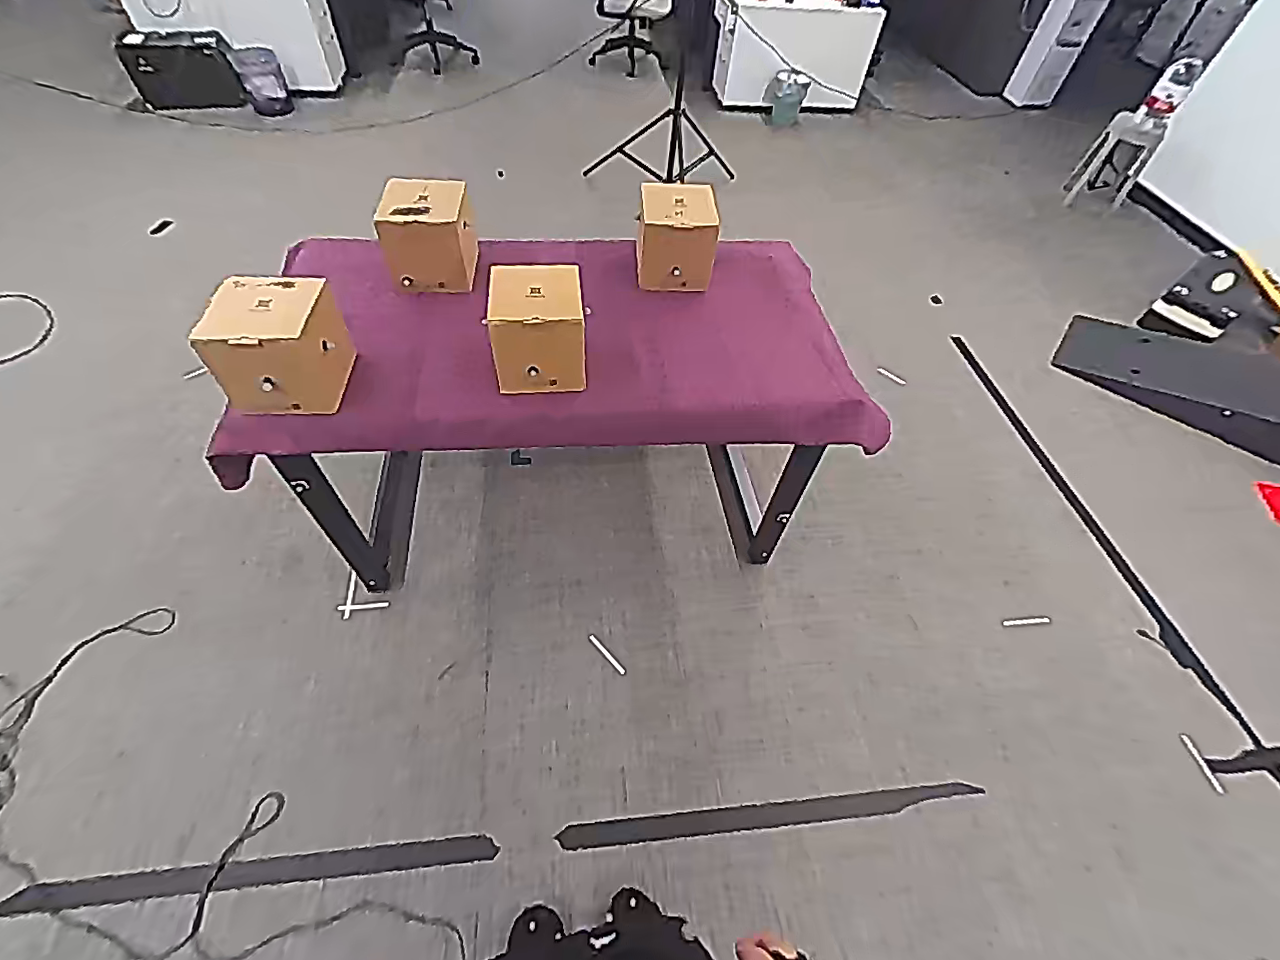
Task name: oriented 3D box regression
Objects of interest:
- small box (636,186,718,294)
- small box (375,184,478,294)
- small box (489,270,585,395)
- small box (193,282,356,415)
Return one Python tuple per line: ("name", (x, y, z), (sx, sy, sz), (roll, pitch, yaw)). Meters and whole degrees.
("small box", (0.080, -0.564, 1.275), (0.168, 0.176, 0.179), (-1, 56, -4))
("small box", (-0.466, -0.535, 1.210), (0.168, 0.176, 0.179), (-1, 54, -6))
("small box", (-0.195, -0.285, 1.048), (0.168, 0.176, 0.179), (-4, 53, -8))
("small box", (-0.632, -0.230, 0.966), (0.168, 0.176, 0.179), (-1, 53, -7))
